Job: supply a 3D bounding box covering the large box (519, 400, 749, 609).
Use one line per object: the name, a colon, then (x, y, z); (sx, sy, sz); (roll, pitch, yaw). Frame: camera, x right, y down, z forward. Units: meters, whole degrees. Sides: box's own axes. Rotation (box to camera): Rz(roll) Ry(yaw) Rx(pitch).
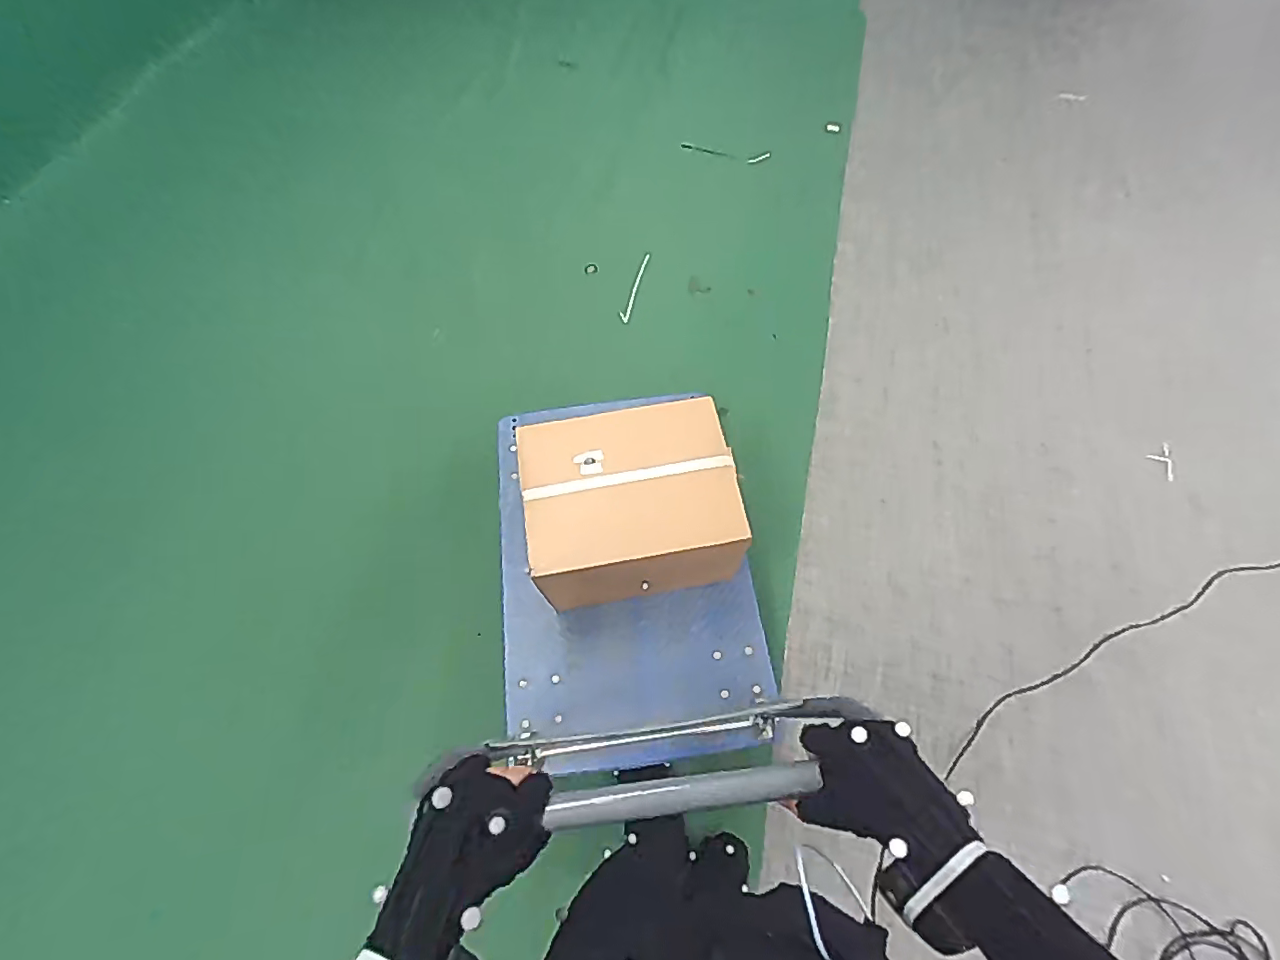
large box: (-0.016, 0.068, 1.175); (0.408, 0.320, 0.320); (-11, 65, -3)
